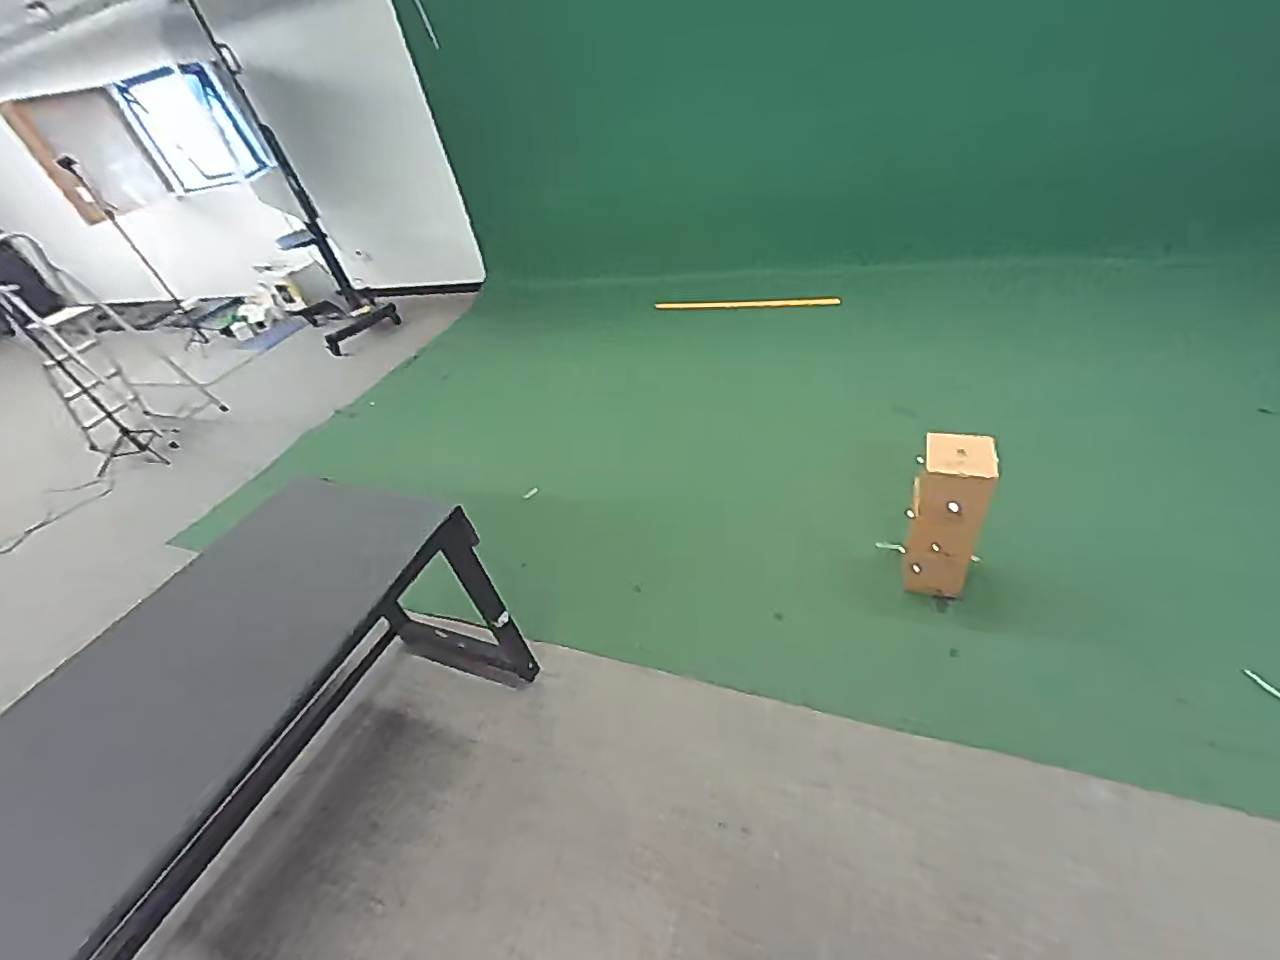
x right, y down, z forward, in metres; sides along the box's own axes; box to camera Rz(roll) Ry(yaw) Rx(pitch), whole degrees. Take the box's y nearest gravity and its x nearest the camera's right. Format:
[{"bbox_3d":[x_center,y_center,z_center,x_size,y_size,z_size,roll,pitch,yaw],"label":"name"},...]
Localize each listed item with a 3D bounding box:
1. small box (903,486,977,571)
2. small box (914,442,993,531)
[{"bbox_3d":[0.894,0.145,1.625,0.168,0.176,0.179,7,42,21],"label":"small box"},{"bbox_3d":[0.876,0.015,1.524,0.168,0.176,0.179,7,42,22],"label":"small box"}]
